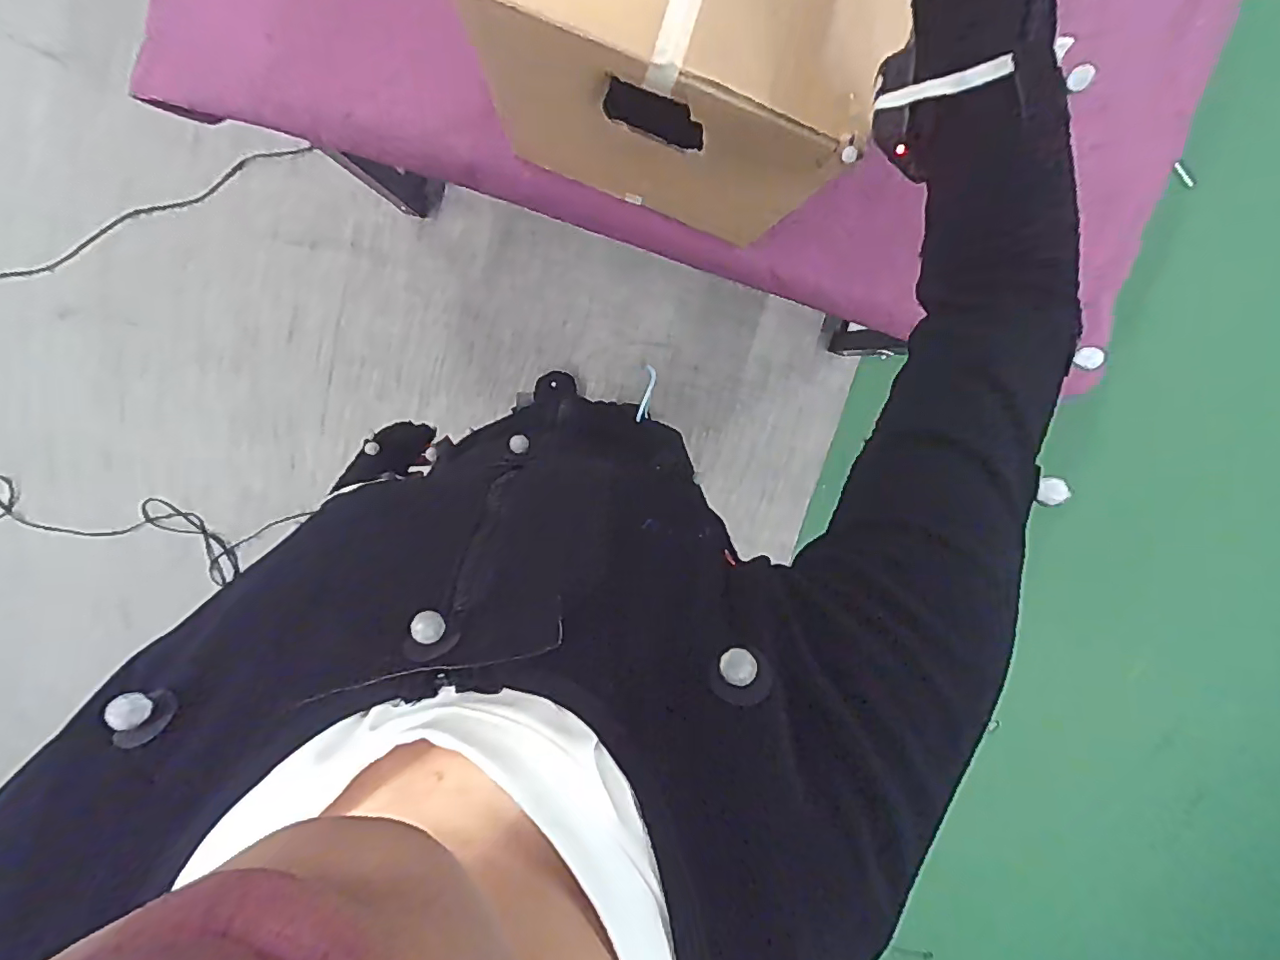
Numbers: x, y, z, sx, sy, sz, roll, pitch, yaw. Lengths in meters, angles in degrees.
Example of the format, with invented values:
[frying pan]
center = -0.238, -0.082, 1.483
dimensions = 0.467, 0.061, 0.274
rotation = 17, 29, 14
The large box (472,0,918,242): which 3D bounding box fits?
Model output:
[large box]
center = 0.072, -0.505, 0.509
dimensions = 0.320, 0.320, 0.408
rotation = 18, 100, -8
